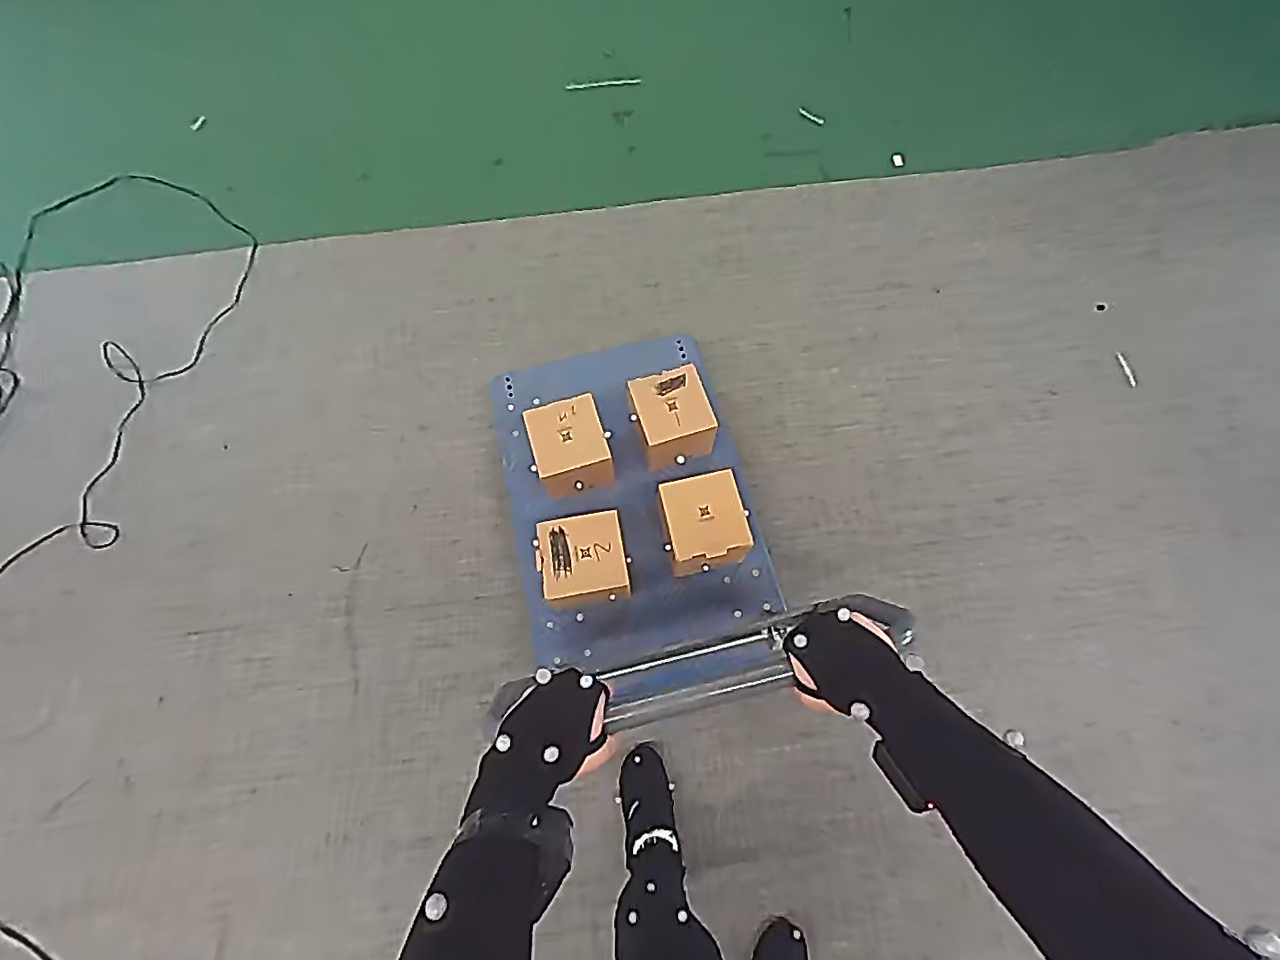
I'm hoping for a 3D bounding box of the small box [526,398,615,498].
[{"bbox_3d":[-0.162,-0.069,1.313,0.168,0.176,0.179,-16,70,-6],"label":"small box"}]

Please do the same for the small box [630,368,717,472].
[{"bbox_3d":[0.078,-0.142,1.334,0.168,0.176,0.179,-17,71,-4],"label":"small box"}]

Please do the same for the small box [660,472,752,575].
[{"bbox_3d":[0.142,0.104,1.241,0.168,0.176,0.179,-12,70,-3],"label":"small box"}]
